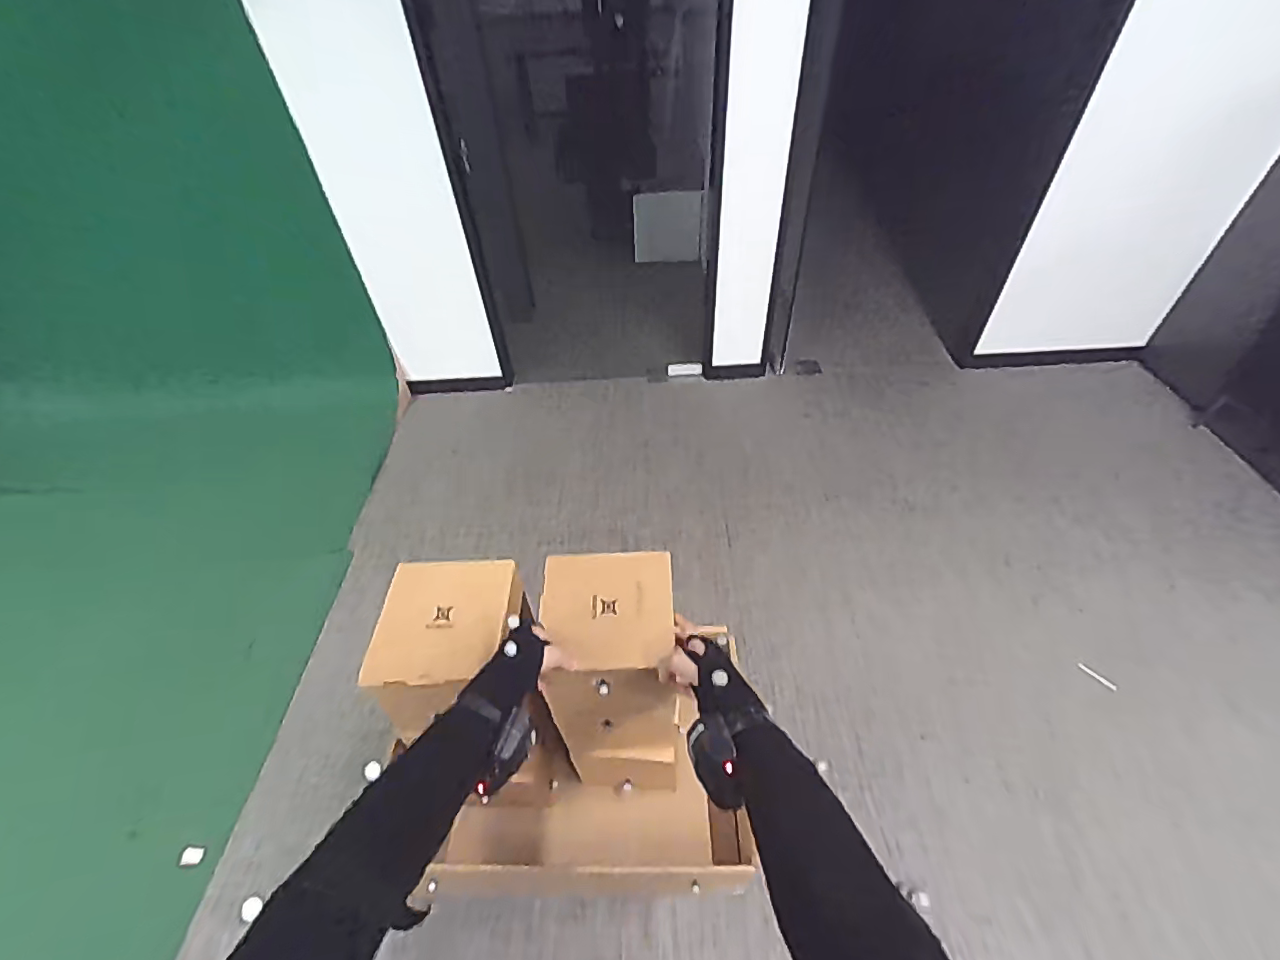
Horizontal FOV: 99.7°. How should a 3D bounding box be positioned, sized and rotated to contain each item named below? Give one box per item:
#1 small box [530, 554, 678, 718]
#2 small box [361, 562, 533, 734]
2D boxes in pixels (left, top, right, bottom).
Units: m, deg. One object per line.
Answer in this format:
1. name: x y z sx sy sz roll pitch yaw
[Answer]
1. small box: -0.039 0.220 0.752 0.179 0.176 0.168 -3 47 3
2. small box: -0.251 0.234 0.757 0.168 0.176 0.179 -2 46 1
